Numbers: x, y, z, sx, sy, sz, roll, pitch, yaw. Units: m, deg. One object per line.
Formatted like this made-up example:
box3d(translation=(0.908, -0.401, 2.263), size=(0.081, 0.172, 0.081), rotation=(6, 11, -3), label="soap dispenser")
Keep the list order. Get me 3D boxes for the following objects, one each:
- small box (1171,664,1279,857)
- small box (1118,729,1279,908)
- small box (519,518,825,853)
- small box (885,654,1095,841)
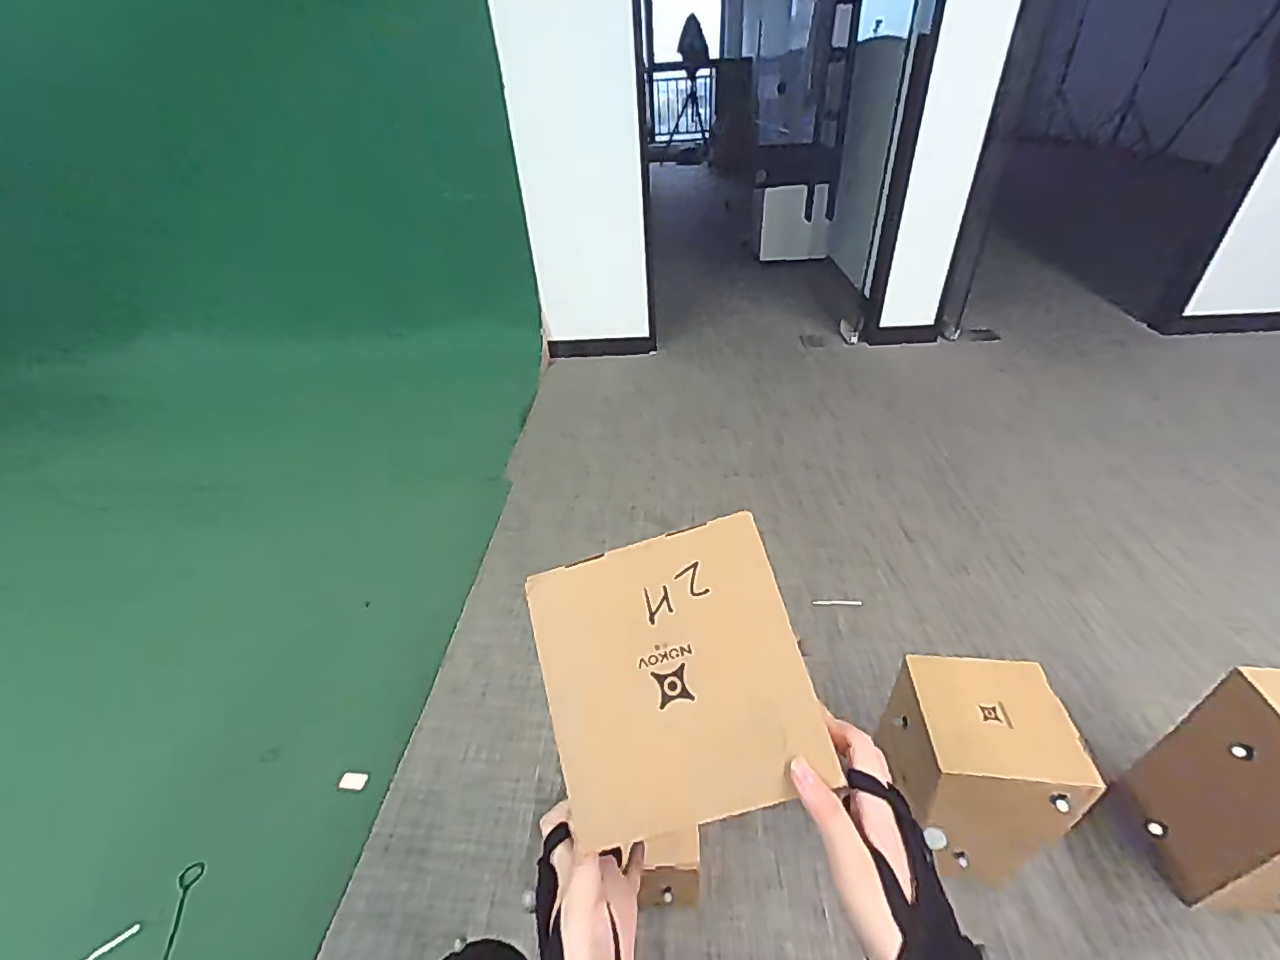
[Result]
box3d(translation=(0.846, 0.360, 0.679), size=(0.168, 0.176, 0.179), rotation=(1, 36, 8), label="small box")
box3d(translation=(0.859, 0.489, 0.780), size=(0.168, 0.176, 0.179), rotation=(1, 37, 7), label="small box")
box3d(translation=(0.025, 0.148, 0.424), size=(0.168, 0.176, 0.179), rotation=(-17, 71, 3), label="small box")
box3d(translation=(0.444, 0.358, 0.728), size=(0.179, 0.176, 0.168), rotation=(1, 36, 8), label="small box")
